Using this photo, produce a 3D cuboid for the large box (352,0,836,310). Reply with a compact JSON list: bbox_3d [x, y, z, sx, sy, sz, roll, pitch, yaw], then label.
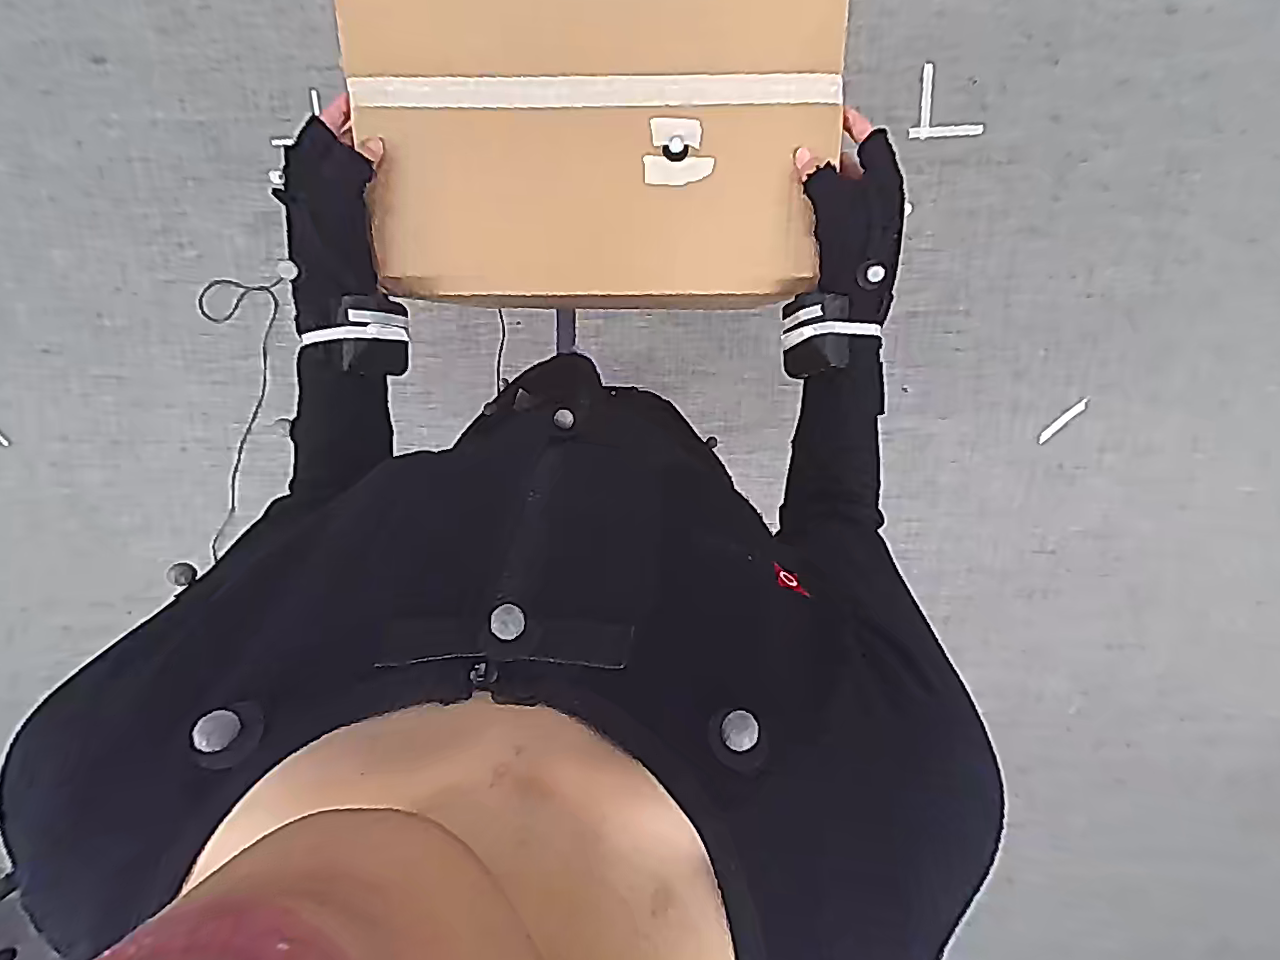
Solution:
[{"bbox_3d":[-0.039,-0.364,0.602,0.408,0.320,0.320,0,105,0],"label":"large box"}]
